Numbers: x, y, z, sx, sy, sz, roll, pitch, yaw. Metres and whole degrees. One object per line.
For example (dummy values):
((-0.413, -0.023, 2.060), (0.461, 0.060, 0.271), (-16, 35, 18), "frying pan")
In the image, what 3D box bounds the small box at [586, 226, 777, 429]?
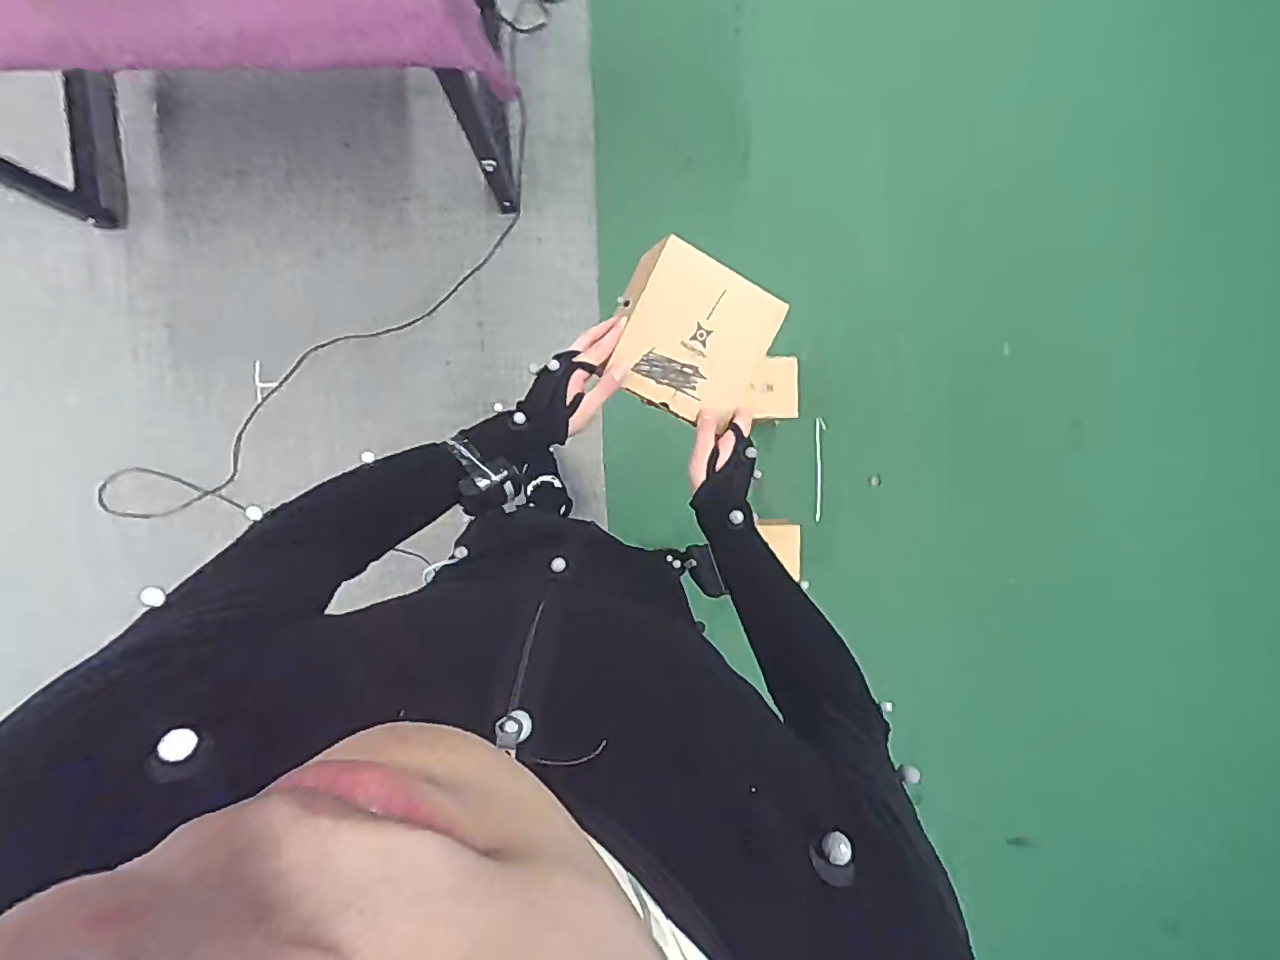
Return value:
((0.038, -0.188, 0.694), (0.168, 0.176, 0.179), (24, 98, -16), "small box")

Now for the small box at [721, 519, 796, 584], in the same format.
((0.339, 0.204, 1.574), (0.179, 0.176, 0.168), (0, 93, -3), "small box")

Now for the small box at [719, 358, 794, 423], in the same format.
((0.330, -0.253, 1.554), (0.179, 0.176, 0.168), (-1, 91, -3), "small box")
